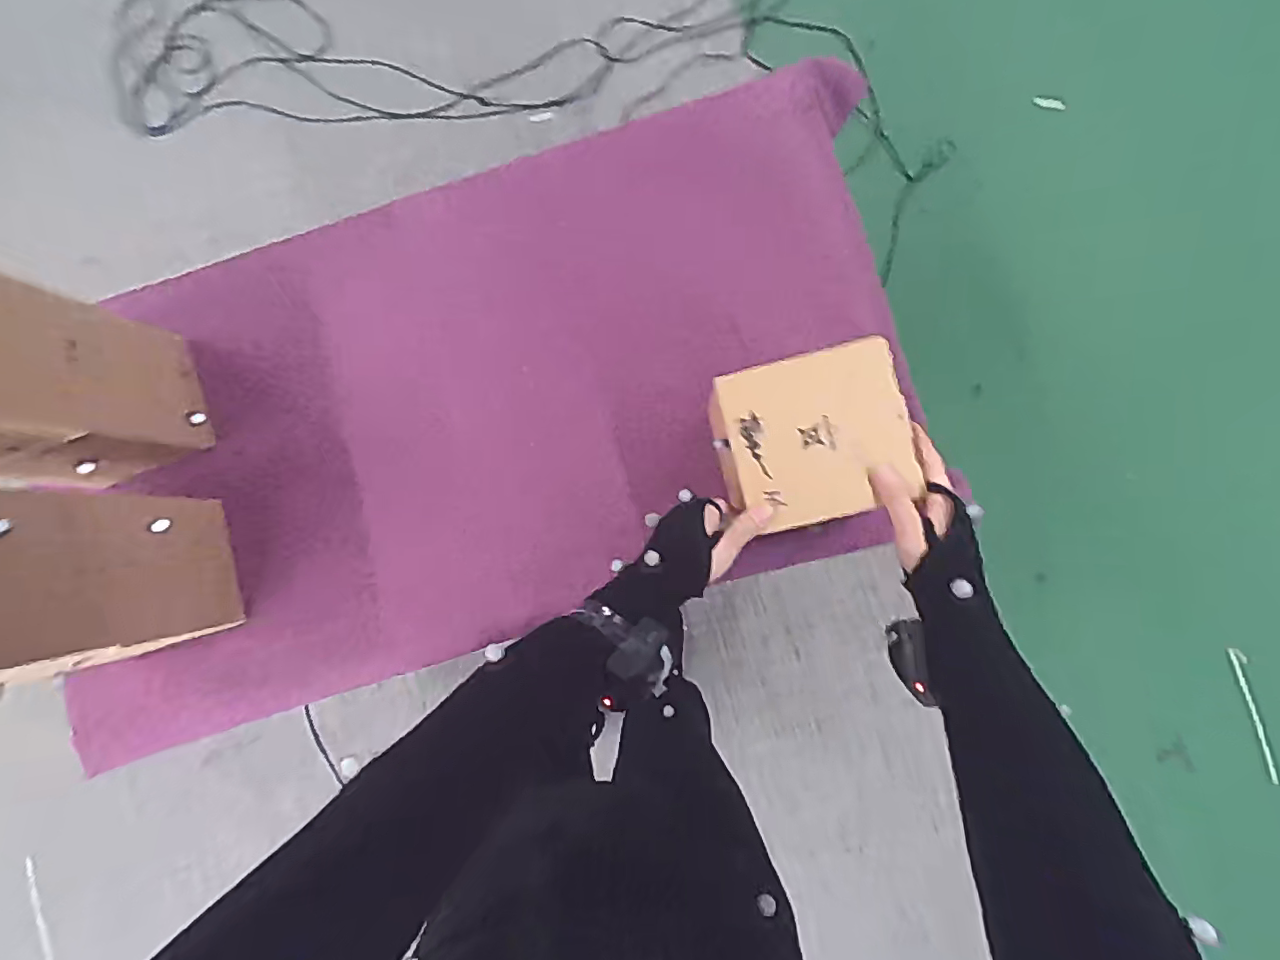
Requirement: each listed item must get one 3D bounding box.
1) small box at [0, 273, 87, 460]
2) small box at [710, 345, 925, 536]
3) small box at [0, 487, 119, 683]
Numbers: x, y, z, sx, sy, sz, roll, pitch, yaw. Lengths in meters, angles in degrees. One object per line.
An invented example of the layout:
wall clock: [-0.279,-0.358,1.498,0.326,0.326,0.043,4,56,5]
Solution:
small box: [-0.704,-0.114,0.525,0.168,0.176,0.179,-19,84,2]
small box: [0.185,-0.035,0.620,0.179,0.176,0.168,-13,85,3]
small box: [-0.654,0.108,0.504,0.168,0.176,0.179,-19,84,3]
